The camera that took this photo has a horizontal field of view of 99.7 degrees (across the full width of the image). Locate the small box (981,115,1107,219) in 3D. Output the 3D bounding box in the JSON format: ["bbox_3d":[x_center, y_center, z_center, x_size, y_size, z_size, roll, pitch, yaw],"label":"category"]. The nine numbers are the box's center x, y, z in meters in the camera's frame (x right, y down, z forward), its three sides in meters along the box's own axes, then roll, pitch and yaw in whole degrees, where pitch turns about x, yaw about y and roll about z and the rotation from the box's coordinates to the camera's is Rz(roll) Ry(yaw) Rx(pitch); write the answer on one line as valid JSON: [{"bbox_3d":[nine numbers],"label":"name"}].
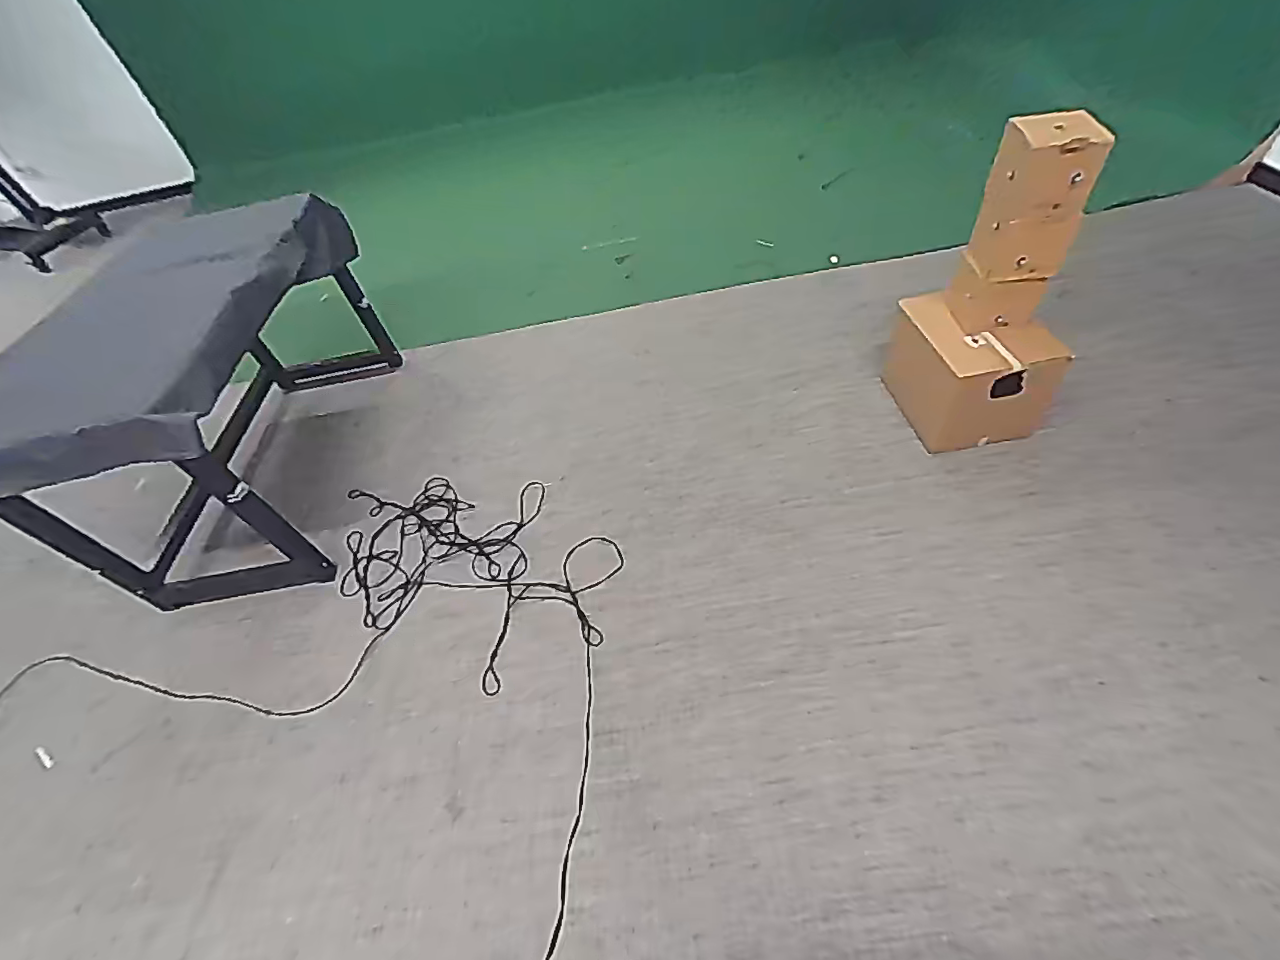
[{"bbox_3d":[0.961,-0.748,1.306,0.168,0.176,0.179,-1,50,9],"label":"small box"}]

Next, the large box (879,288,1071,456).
[{"bbox_3d":[1.011,-0.342,1.705,0.320,0.320,0.408,-12,50,2],"label":"large box"}]

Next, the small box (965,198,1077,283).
[{"bbox_3d":[0.991,-0.643,1.427,0.168,0.176,0.179,-2,51,9],"label":"small box"}]
